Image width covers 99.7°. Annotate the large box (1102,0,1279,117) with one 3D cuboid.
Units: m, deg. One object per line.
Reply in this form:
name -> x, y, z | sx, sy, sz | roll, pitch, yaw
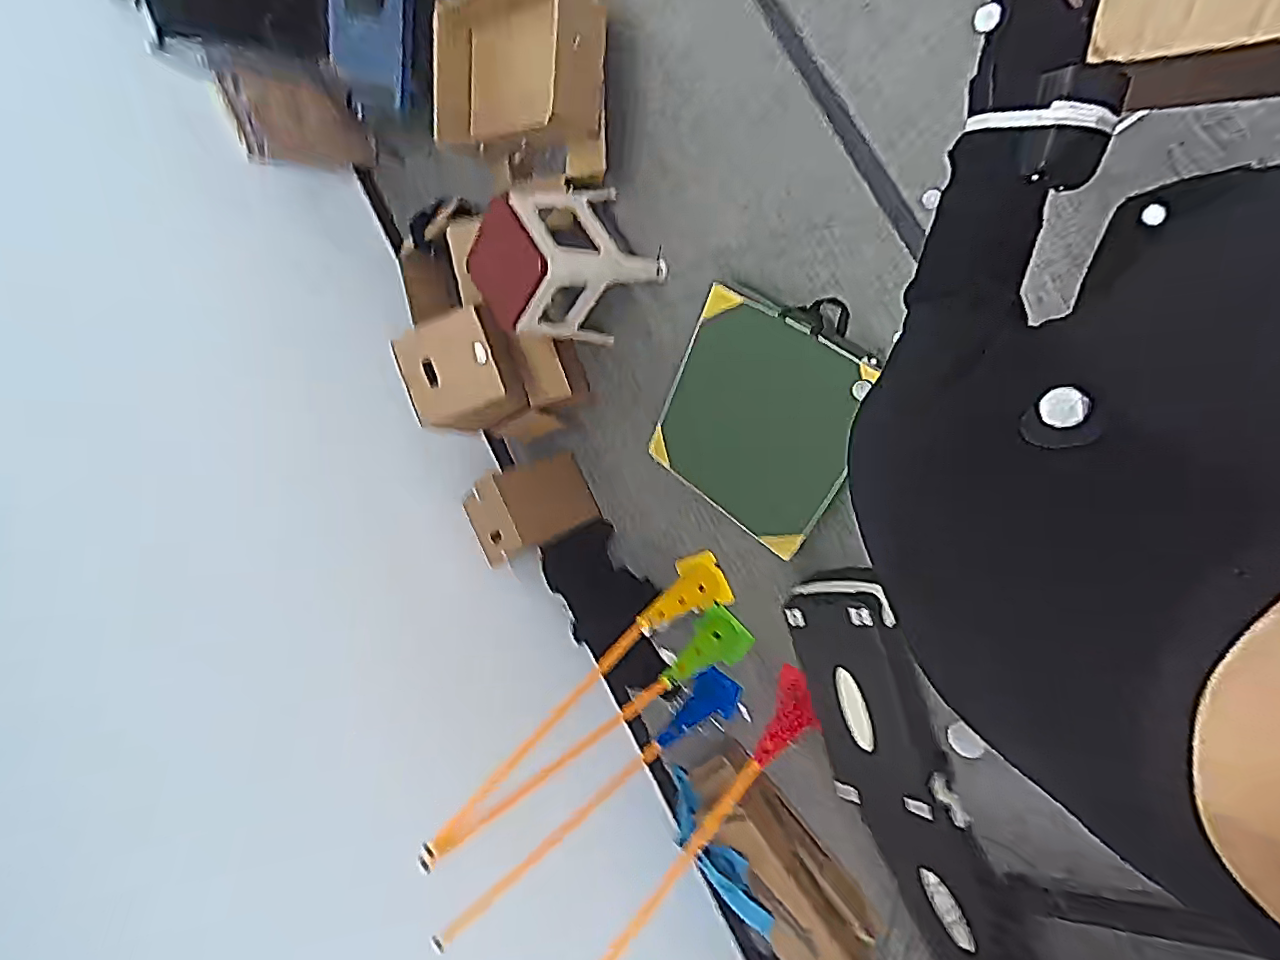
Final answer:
large box -> 0.547, -0.415, 0.284 | 0.408, 0.320, 0.320 | 19, 124, 36
